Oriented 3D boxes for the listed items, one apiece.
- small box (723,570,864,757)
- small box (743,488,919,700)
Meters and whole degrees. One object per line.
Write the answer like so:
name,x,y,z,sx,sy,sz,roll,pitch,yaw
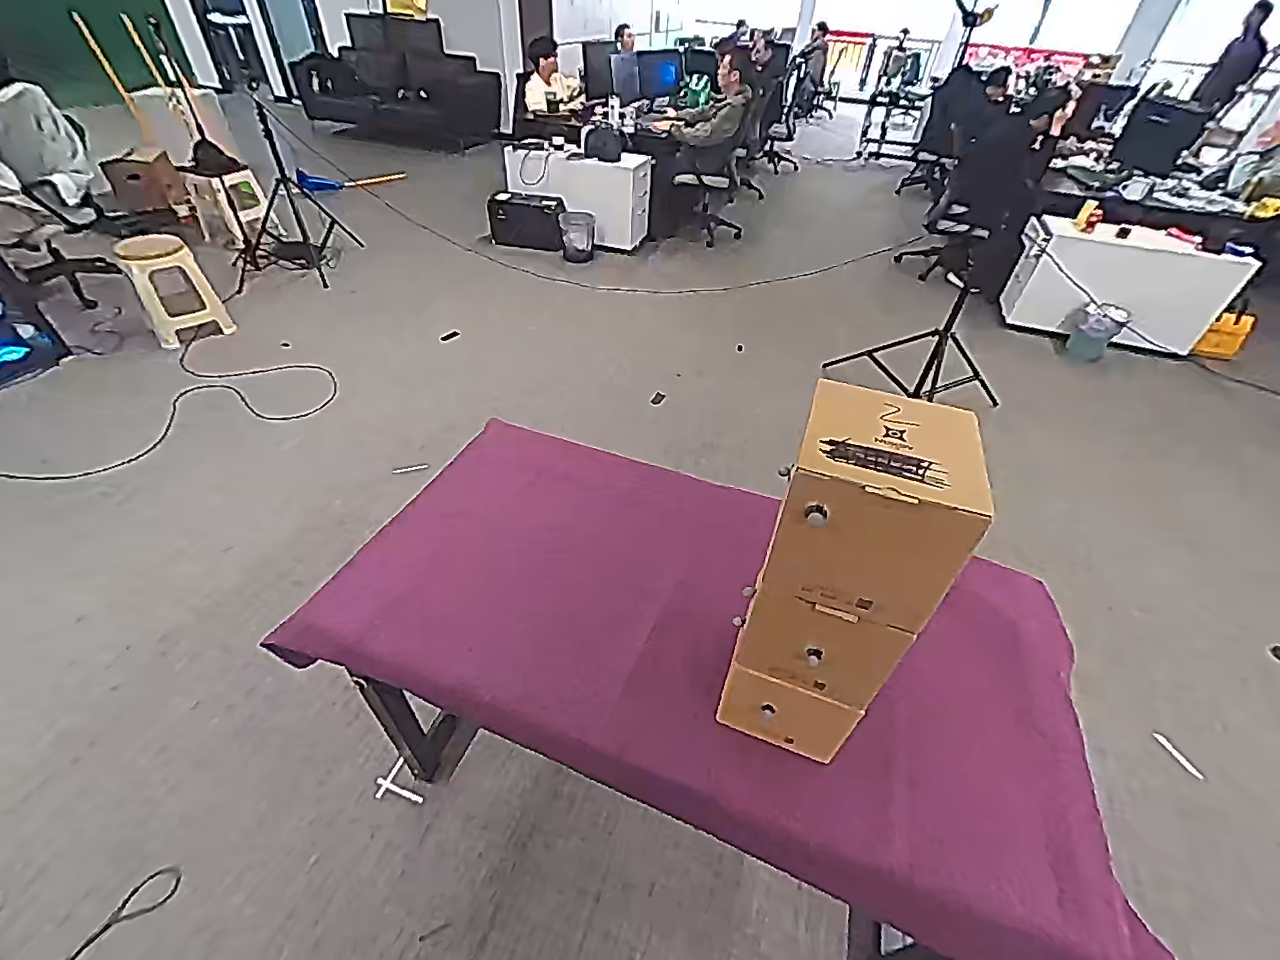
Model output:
small box,0.225,0.269,0.791,0.168,0.176,0.179,16,43,14
small box,0.236,0.145,0.685,0.168,0.176,0.179,17,44,14
